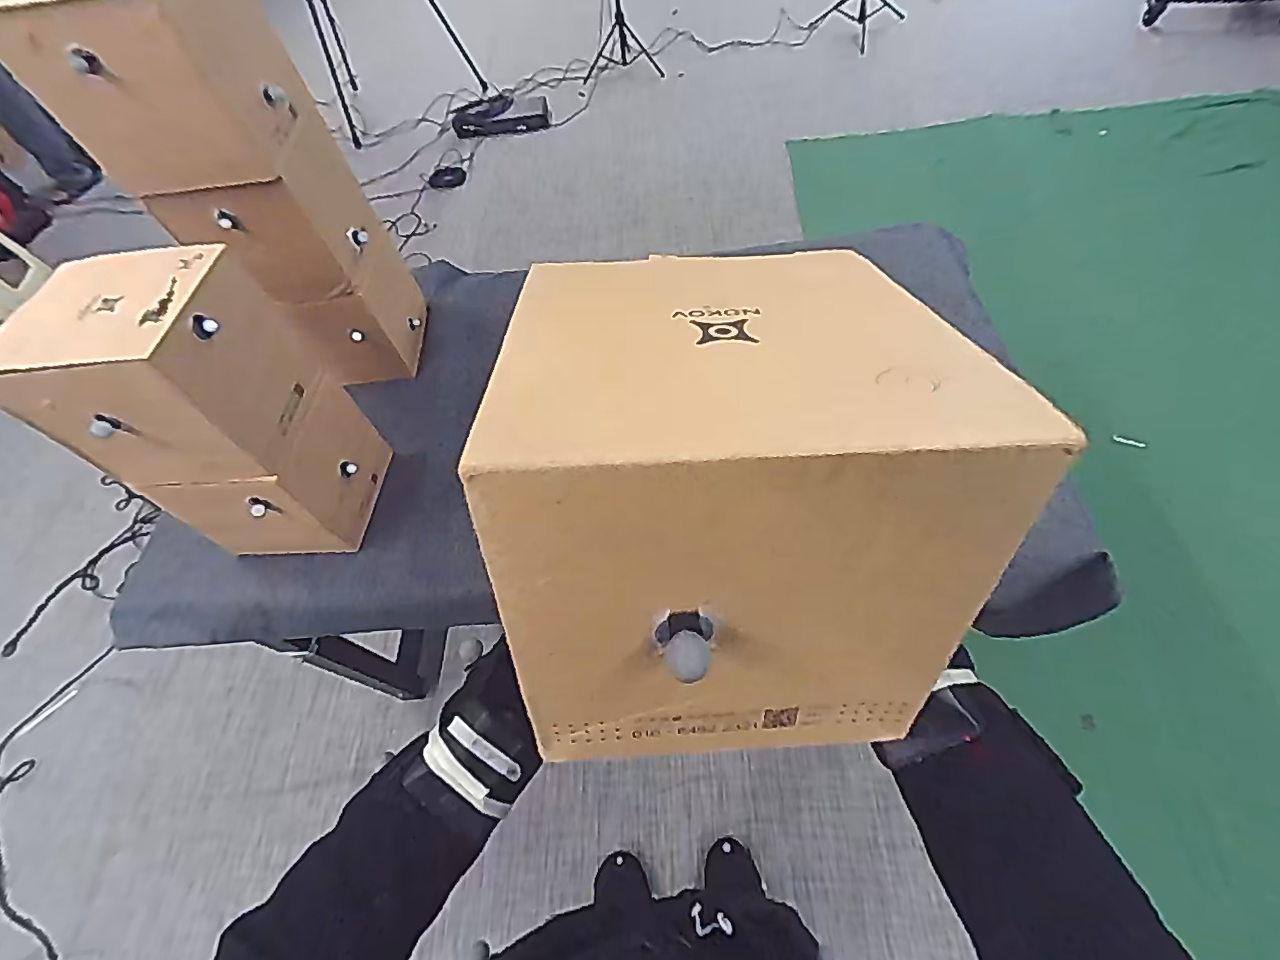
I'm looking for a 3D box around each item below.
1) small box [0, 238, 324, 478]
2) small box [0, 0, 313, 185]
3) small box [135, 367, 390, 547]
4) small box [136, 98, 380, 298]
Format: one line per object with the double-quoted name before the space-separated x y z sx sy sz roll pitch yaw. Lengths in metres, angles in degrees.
"small box" -0.474 -0.115 0.554 0.179 0.176 0.168 -5 56 4
"small box" -0.490 -0.434 0.563 0.179 0.176 0.168 -5 60 3
"small box" -0.453 -0.023 0.688 0.179 0.176 0.168 -2 56 6
"small box" -0.477 -0.359 0.709 0.179 0.176 0.168 -6 60 2
